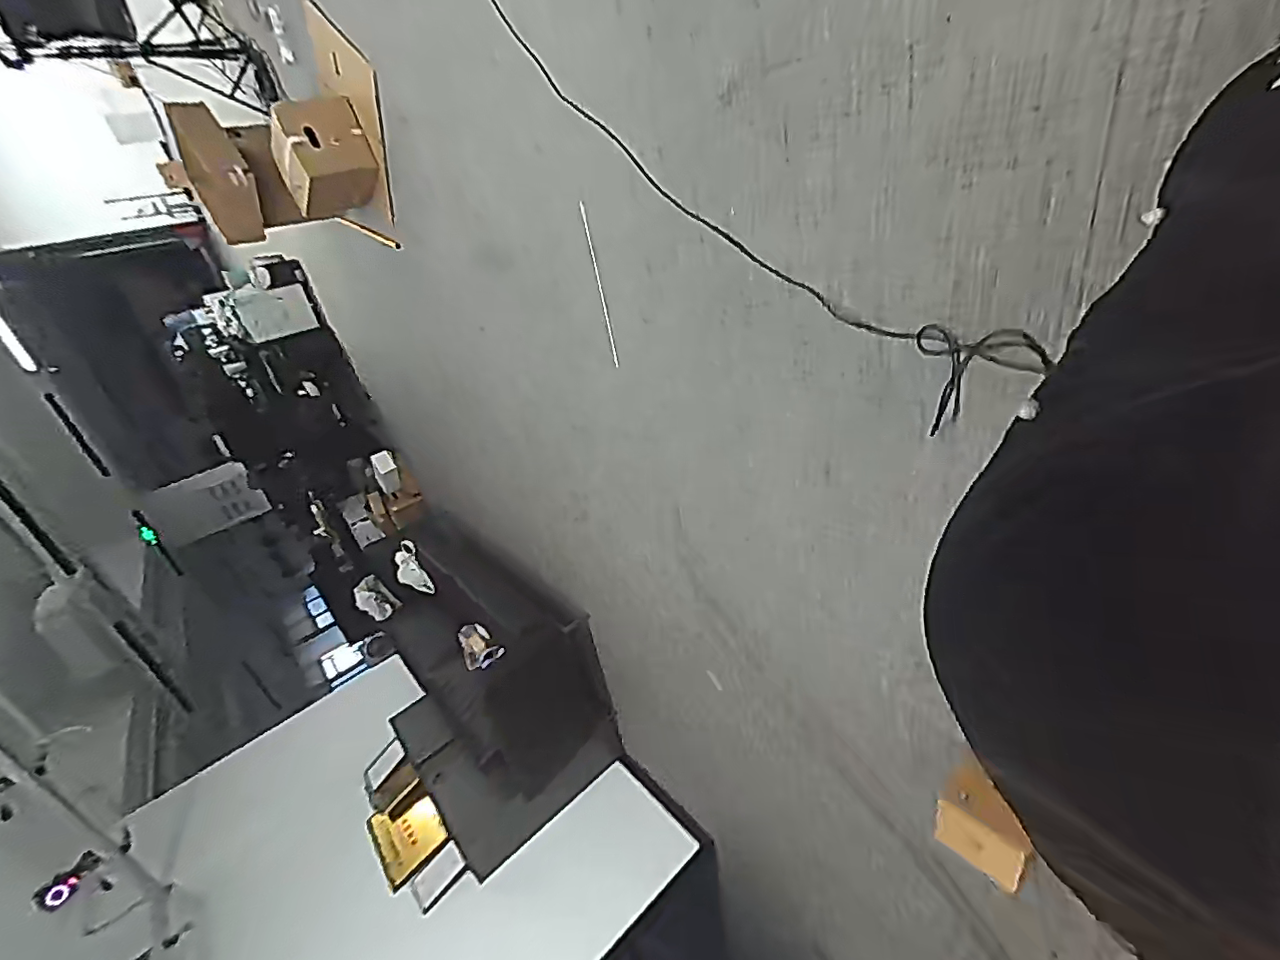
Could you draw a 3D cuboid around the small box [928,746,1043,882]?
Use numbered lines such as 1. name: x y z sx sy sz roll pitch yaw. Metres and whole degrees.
1. small box: 0.807 0.770 1.266 0.179 0.176 0.168 22 133 48
